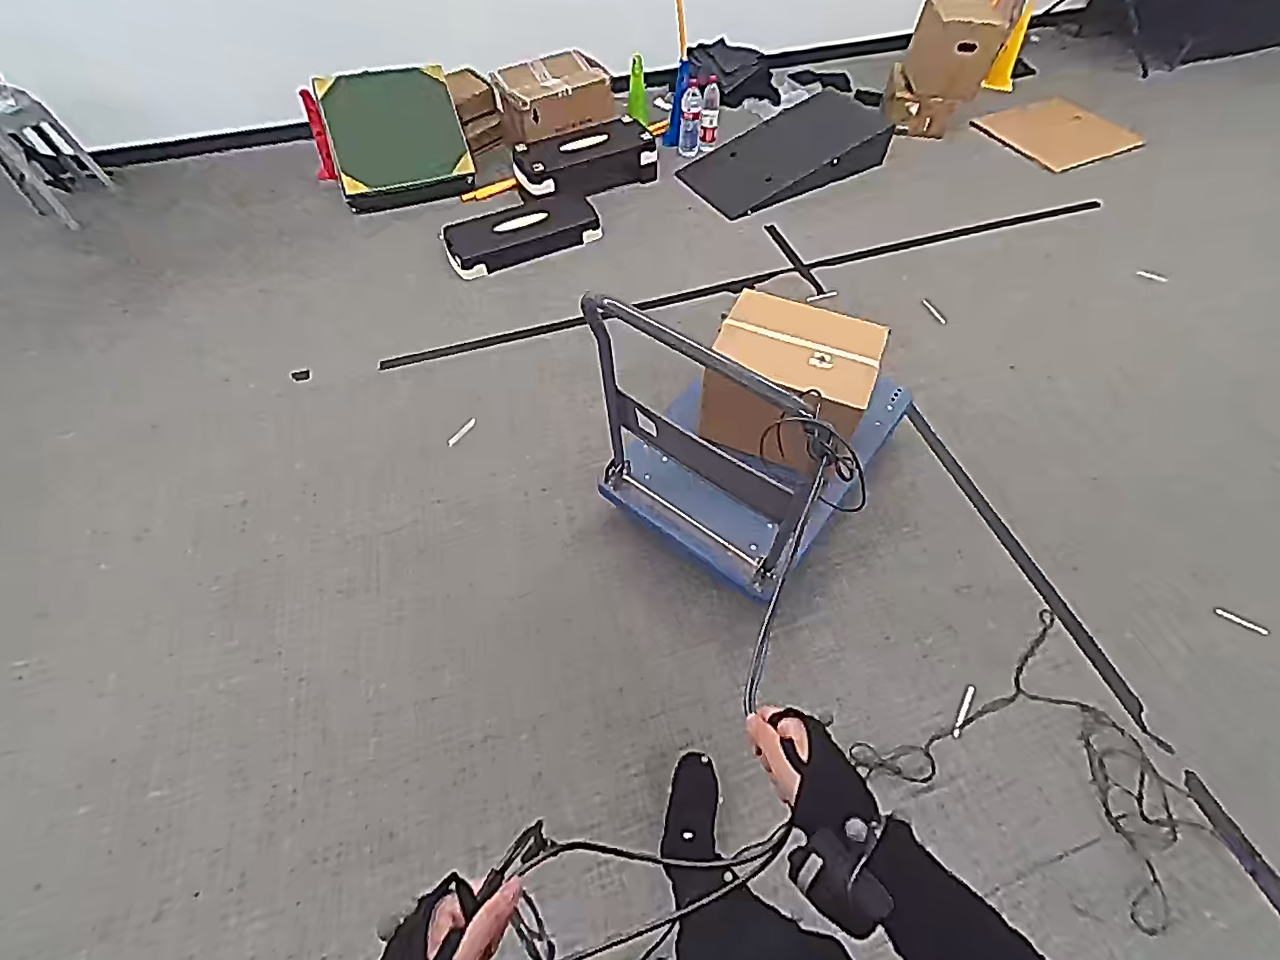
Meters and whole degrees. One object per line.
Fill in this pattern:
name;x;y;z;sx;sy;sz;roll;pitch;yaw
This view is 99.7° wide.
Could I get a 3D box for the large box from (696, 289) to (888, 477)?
large box;0.400;-0.265;1.493;0.408;0.320;0.320;21;61;13
